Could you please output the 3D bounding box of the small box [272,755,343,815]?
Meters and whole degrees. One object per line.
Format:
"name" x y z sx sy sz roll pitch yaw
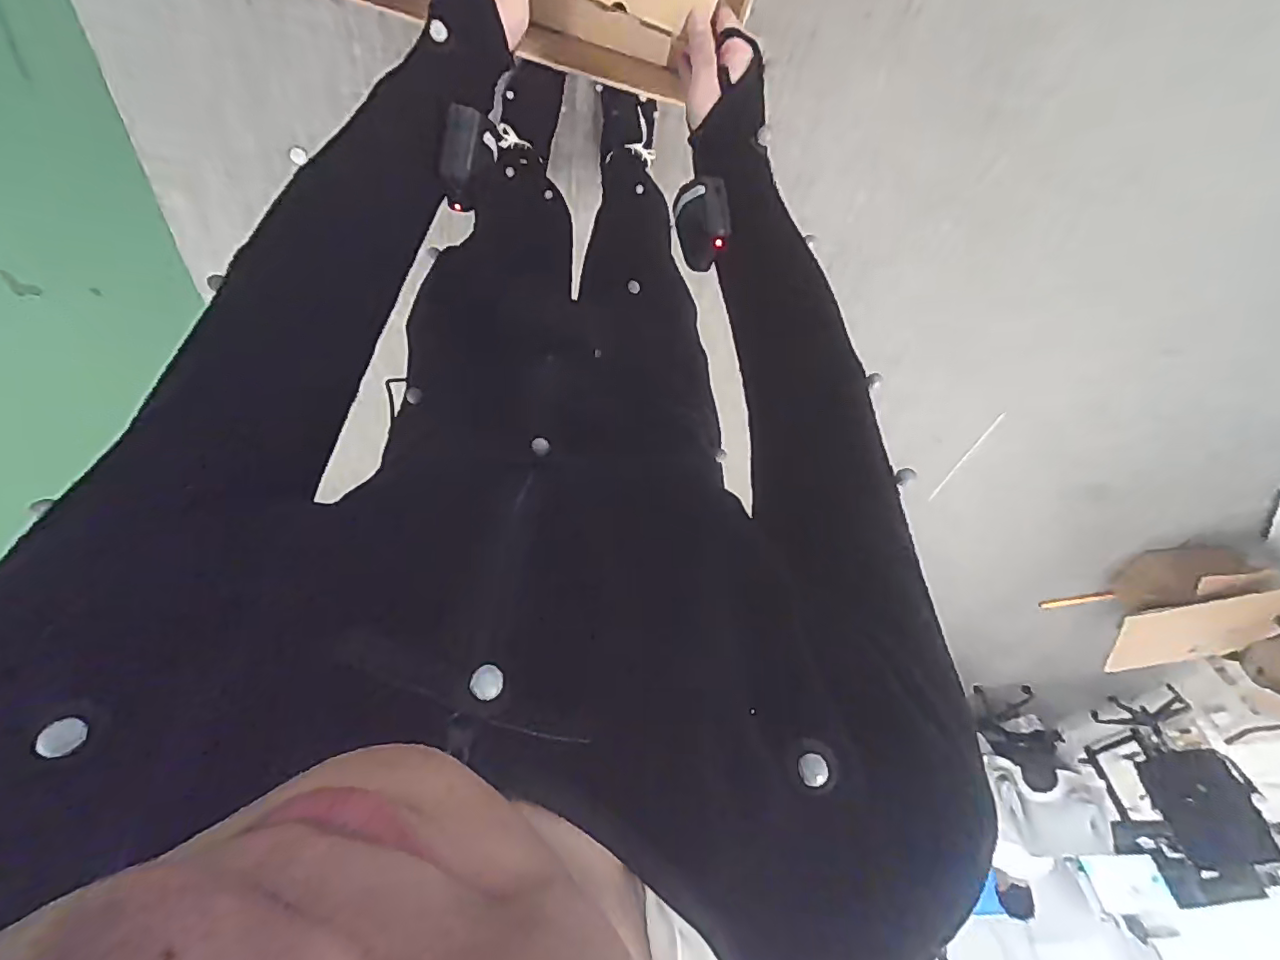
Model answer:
"small box" -1.272 1.178 2.085 0.168 0.176 0.179 4 137 -8
